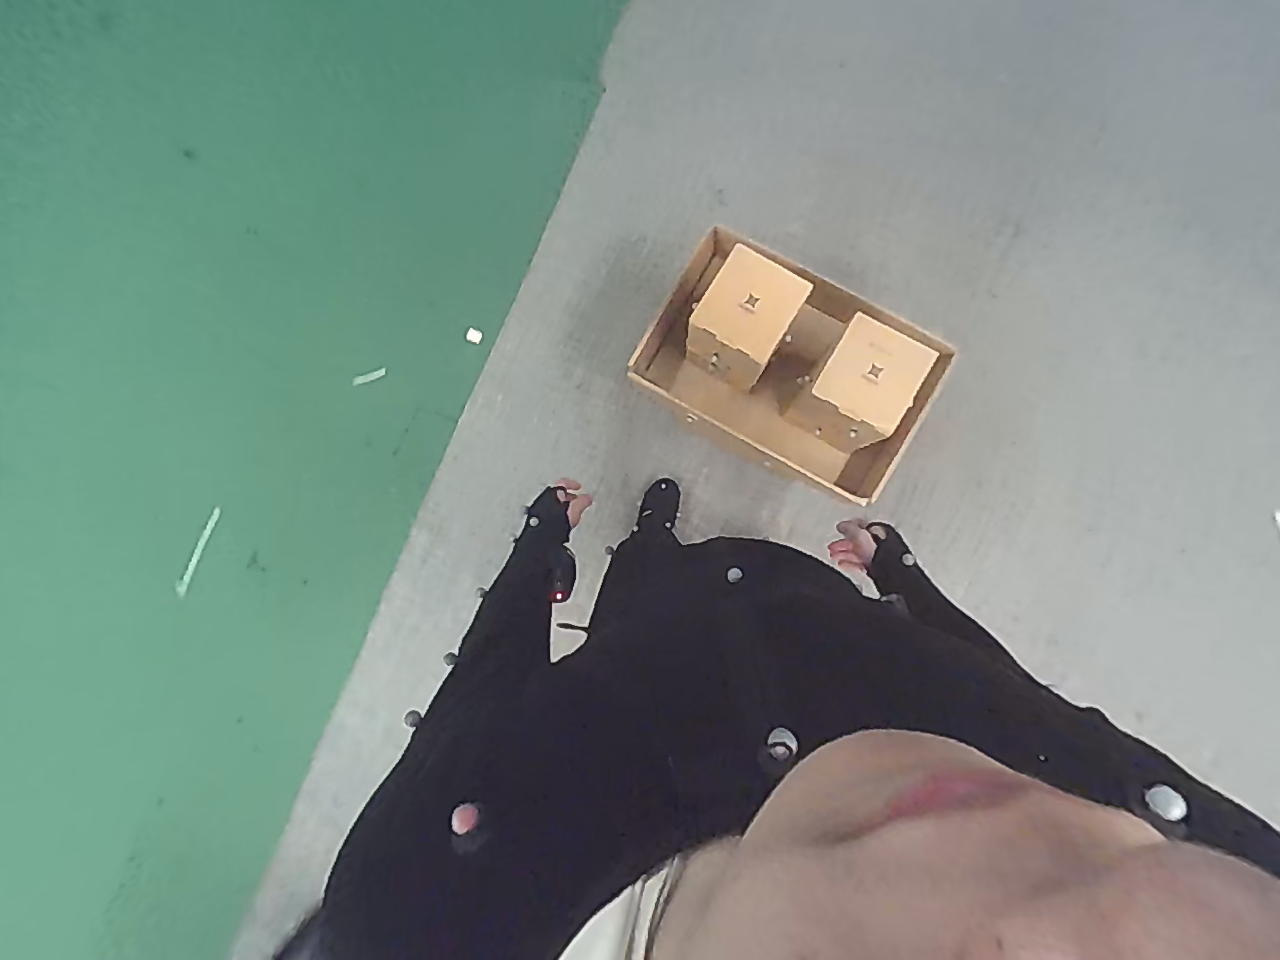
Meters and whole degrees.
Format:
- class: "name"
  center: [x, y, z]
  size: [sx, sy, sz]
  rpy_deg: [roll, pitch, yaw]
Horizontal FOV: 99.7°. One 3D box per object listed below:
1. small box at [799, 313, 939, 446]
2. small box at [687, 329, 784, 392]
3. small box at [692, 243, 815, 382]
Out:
- class: "small box"
  center: [0.425, -0.181, 1.041]
  size: [0.168, 0.176, 0.179]
  rpy_deg: [31, 90, 5]
- class: "small box"
  center: [0.221, -0.319, 1.233]
  size: [0.179, 0.176, 0.168]
  rpy_deg: [32, 90, 5]
- class: "small box"
  center: [0.211, -0.319, 1.069]
  size: [0.168, 0.176, 0.179]
  rpy_deg: [33, 90, 5]
